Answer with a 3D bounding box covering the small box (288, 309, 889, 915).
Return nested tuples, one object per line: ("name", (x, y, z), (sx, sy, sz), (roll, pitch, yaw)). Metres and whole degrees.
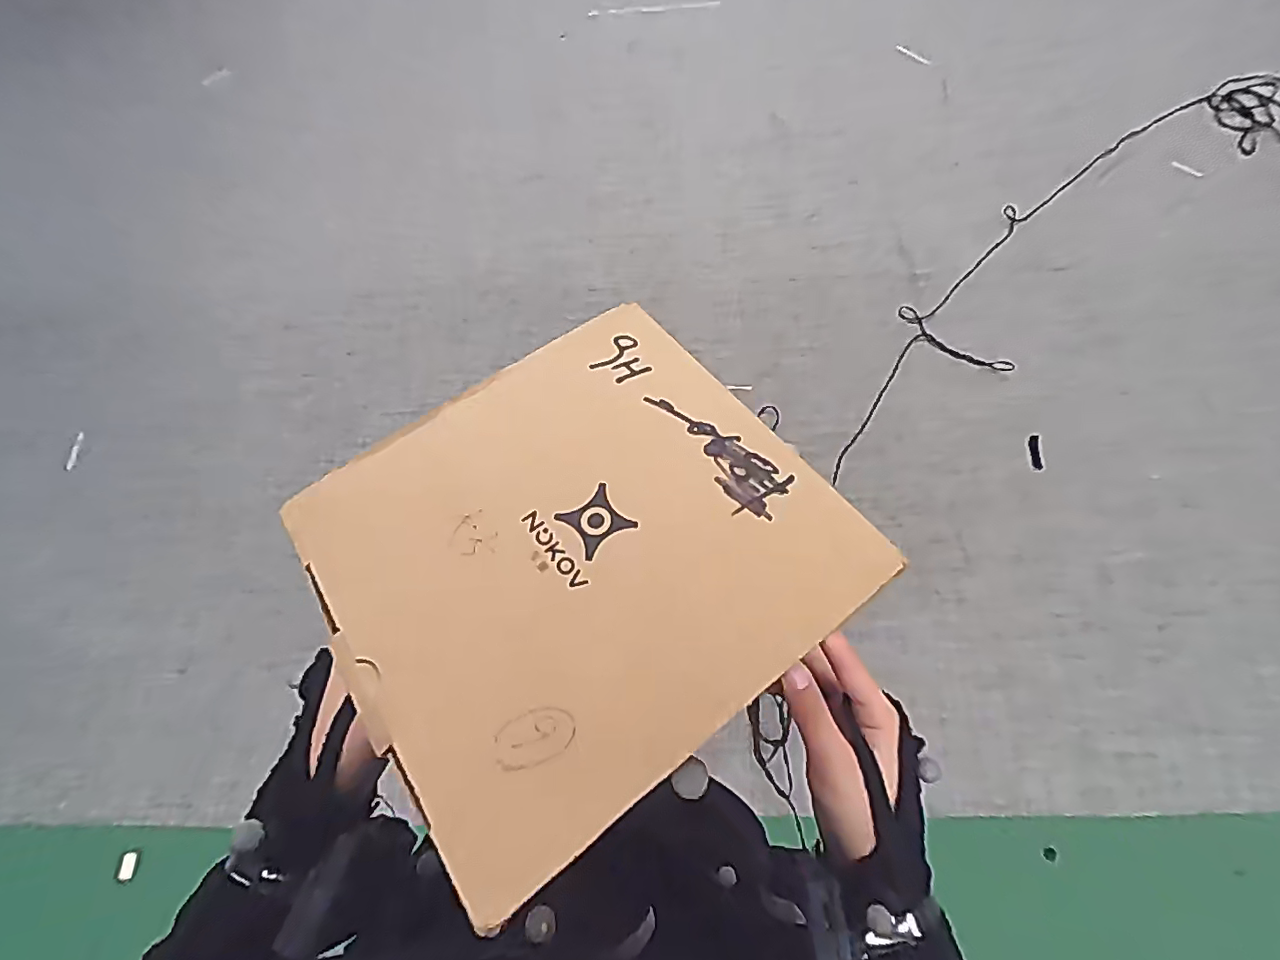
("small box", (-0.020, 0.059, 0.272), (0.179, 0.176, 0.168), (-35, 65, -14))
